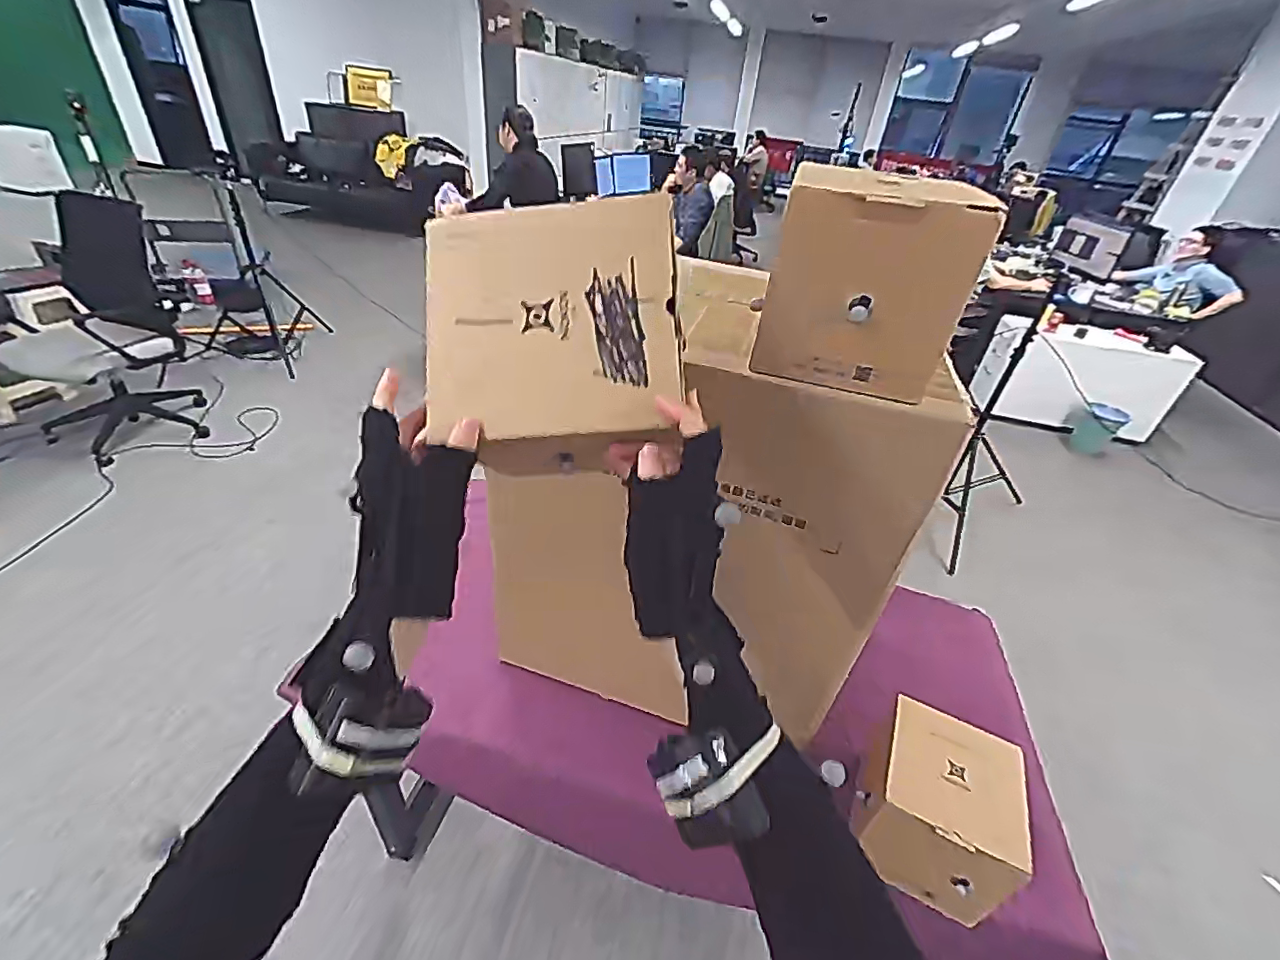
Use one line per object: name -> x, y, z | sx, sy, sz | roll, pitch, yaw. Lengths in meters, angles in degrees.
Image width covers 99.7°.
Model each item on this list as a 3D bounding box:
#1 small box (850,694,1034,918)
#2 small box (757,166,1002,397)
small box -> 0.403, 0.444, 0.743 | 0.168, 0.176, 0.179 | 21, 36, 18
small box -> 0.219, -0.201, 0.540 | 0.168, 0.176, 0.179 | 13, 37, 10
